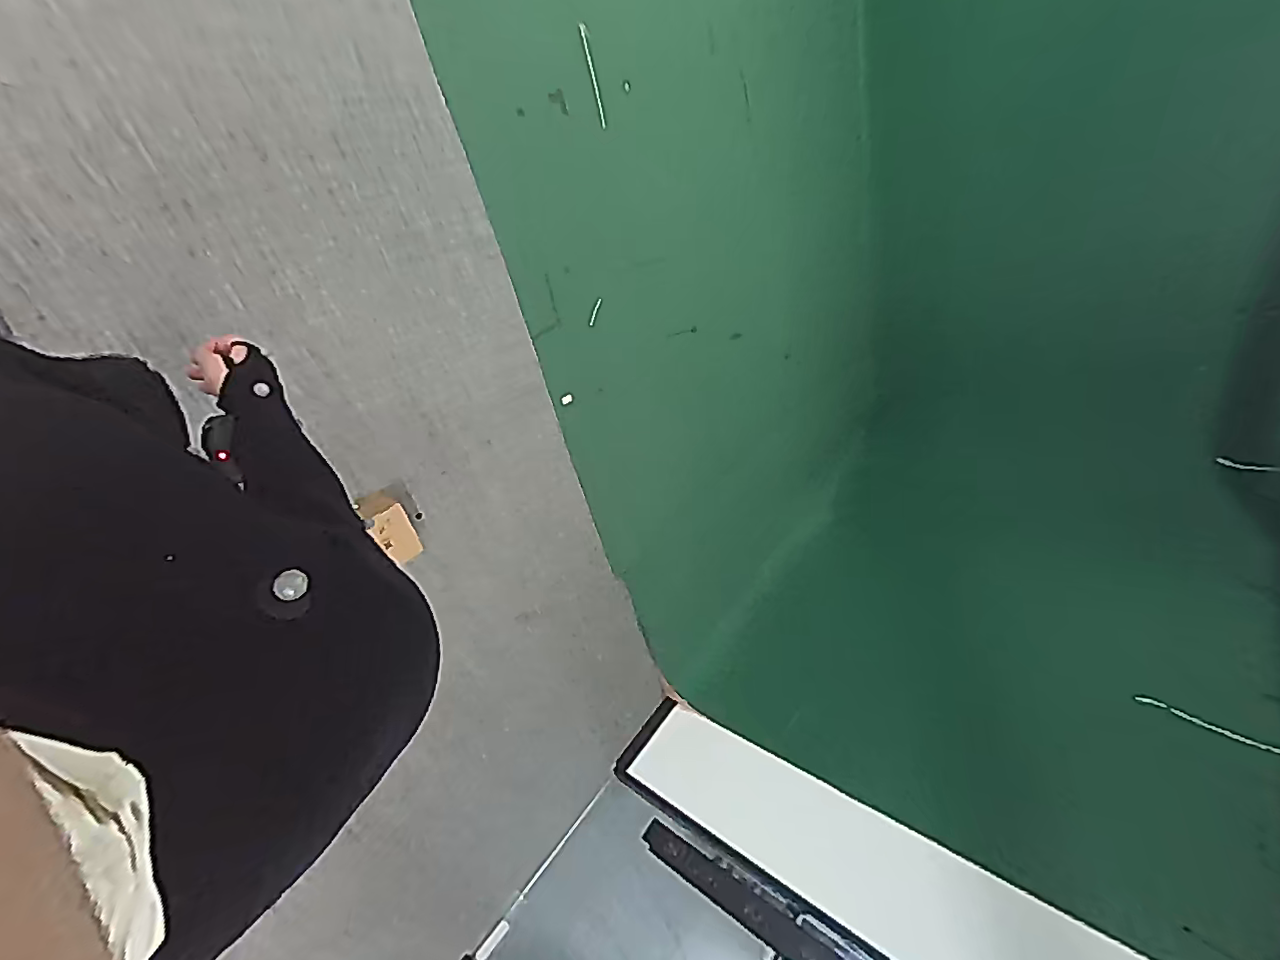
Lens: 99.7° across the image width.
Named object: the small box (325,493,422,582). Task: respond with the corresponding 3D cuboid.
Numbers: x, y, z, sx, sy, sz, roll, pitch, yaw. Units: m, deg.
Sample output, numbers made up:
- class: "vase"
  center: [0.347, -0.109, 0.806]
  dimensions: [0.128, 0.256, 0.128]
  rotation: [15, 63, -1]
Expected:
- class: "small box"
  center: [-0.775, 0.160, 1.573]
  dimensions: [0.168, 0.176, 0.179]
  rotation: [-38, 126, -36]
